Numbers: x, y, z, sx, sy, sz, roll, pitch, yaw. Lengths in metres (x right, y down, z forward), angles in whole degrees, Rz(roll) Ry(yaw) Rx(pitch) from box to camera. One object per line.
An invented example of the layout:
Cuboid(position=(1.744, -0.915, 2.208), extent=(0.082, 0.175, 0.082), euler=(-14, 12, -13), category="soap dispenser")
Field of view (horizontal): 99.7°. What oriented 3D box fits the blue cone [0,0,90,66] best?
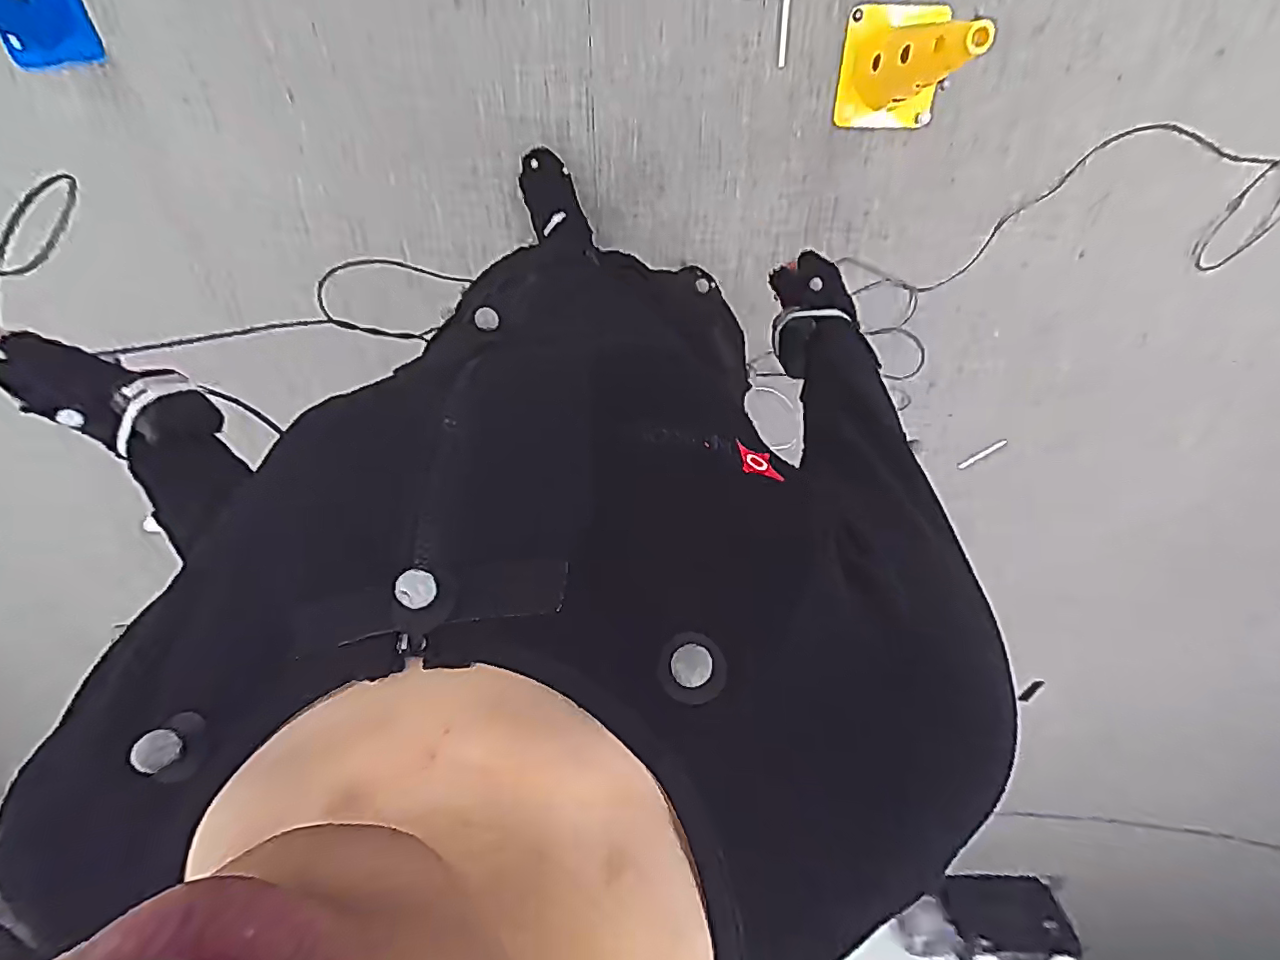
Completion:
Cuboid(position=(-1.214, -0.856, 0.924), extent=(0.193, 0.380, 0.192), euler=(-3, 121, 4), category="blue cone")
